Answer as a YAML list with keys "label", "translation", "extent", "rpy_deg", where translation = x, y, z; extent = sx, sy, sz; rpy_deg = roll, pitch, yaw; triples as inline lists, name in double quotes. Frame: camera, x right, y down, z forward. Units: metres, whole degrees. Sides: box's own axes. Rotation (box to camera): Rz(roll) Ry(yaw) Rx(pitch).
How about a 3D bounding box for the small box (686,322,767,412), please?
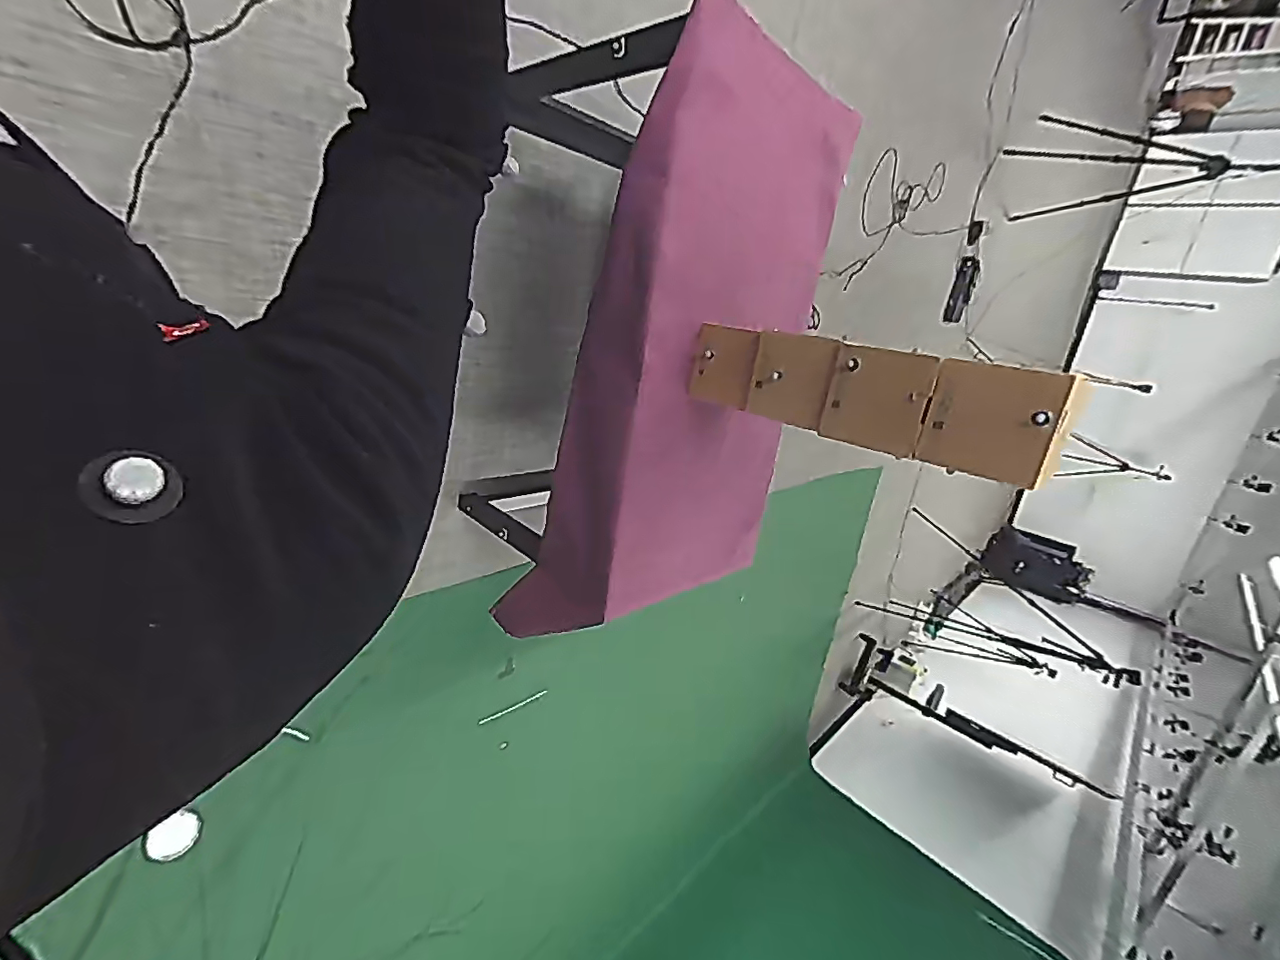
- label: "small box"
  translation: [0.230, -0.243, 1.184]
  extent: [0.179, 0.176, 0.168]
  rpy_deg: [-3, 110, -46]

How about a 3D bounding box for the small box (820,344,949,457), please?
- label: "small box"
  translation: [0.442, -0.141, 0.955]
  extent: [0.179, 0.176, 0.168]
  rpy_deg: [-5, 111, -47]

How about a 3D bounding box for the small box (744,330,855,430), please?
- label: "small box"
  translation: [0.335, -0.196, 1.066]
  extent: [0.179, 0.176, 0.168]
  rpy_deg: [-6, 111, -46]

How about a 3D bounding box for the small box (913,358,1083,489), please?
- label: "small box"
  translation: [0.560, -0.092, 0.853]
  extent: [0.179, 0.176, 0.168]
  rpy_deg: [-3, 110, -47]
